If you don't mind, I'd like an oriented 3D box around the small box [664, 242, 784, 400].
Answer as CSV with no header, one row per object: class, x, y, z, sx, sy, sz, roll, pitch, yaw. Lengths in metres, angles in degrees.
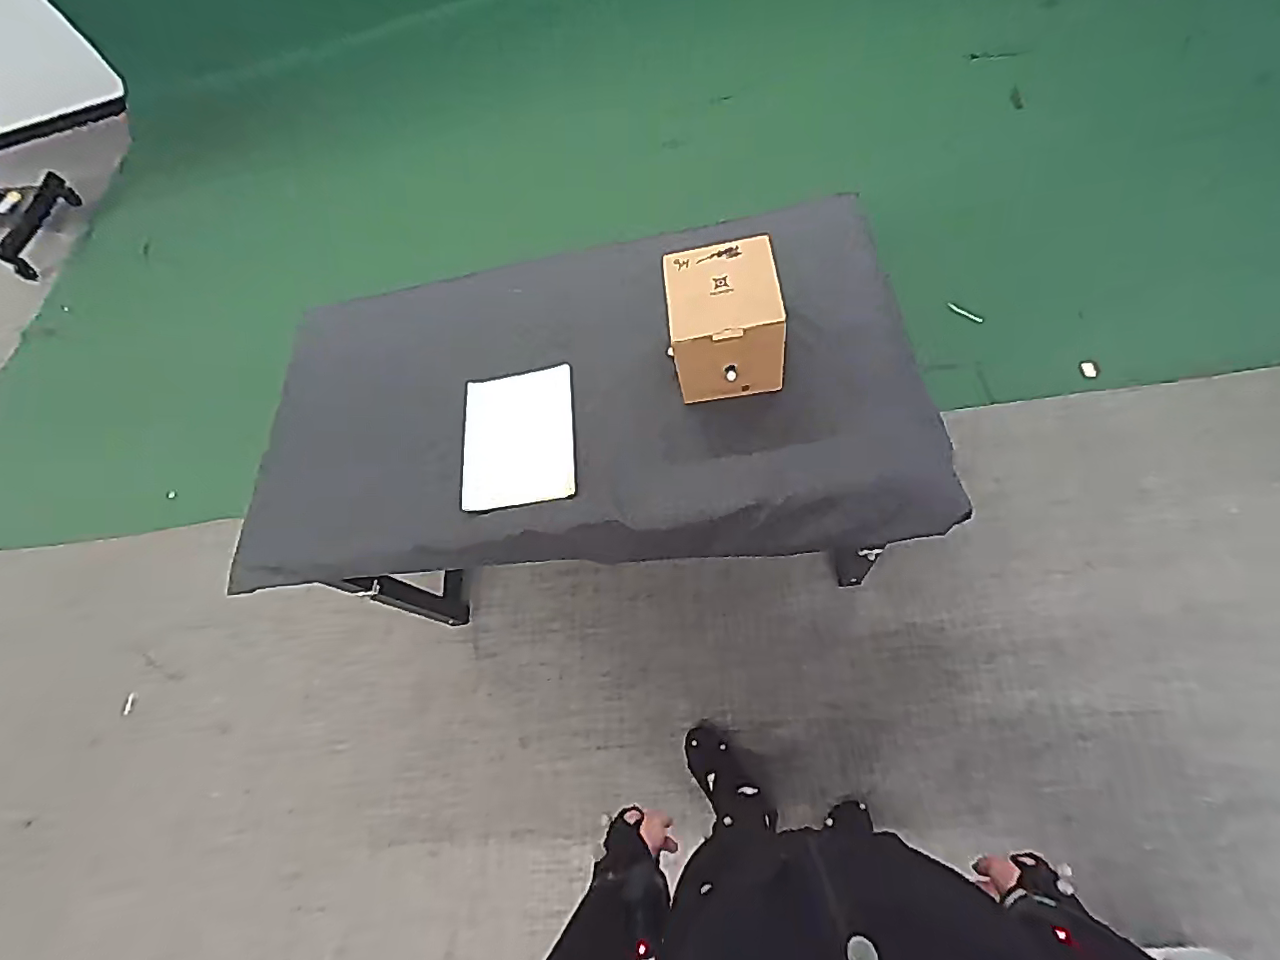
small box,0.137,-0.244,0.875,0.168,0.176,0.179,-7,66,9
